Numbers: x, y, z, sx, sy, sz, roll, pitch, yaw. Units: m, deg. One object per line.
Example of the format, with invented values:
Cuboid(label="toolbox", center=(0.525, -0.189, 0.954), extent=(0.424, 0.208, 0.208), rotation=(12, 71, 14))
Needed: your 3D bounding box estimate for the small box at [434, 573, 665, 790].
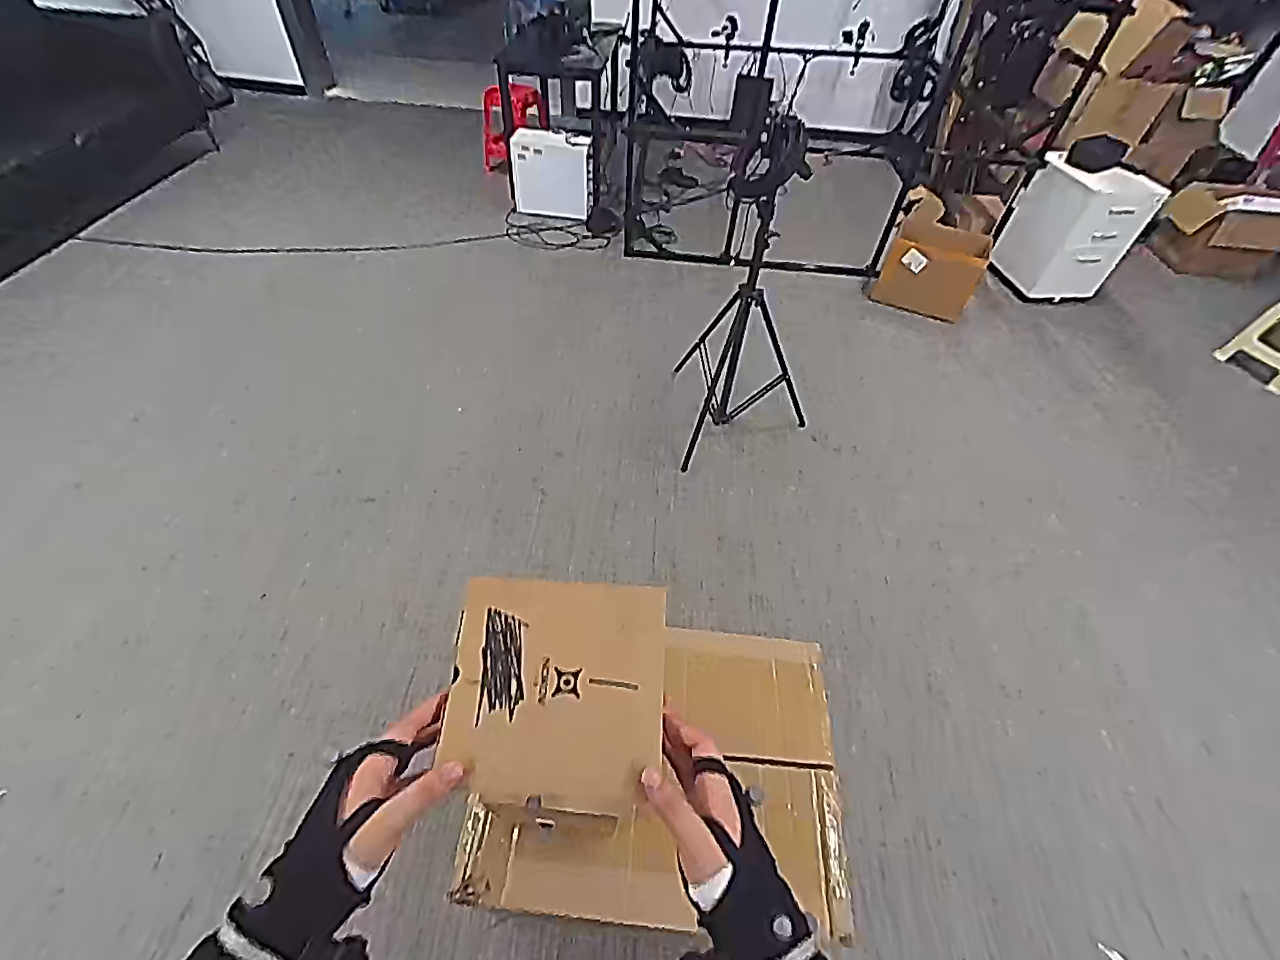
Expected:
Cuboid(label="small box", center=(-0.070, 0.196, 0.519), extent=(0.179, 0.176, 0.168), rotation=(3, 63, -1))

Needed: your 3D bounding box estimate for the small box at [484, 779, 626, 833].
Cuboid(label="small box", center=(-0.098, 0.360, 0.735), extent=(0.168, 0.176, 0.179), rotation=(5, 52, 1))
